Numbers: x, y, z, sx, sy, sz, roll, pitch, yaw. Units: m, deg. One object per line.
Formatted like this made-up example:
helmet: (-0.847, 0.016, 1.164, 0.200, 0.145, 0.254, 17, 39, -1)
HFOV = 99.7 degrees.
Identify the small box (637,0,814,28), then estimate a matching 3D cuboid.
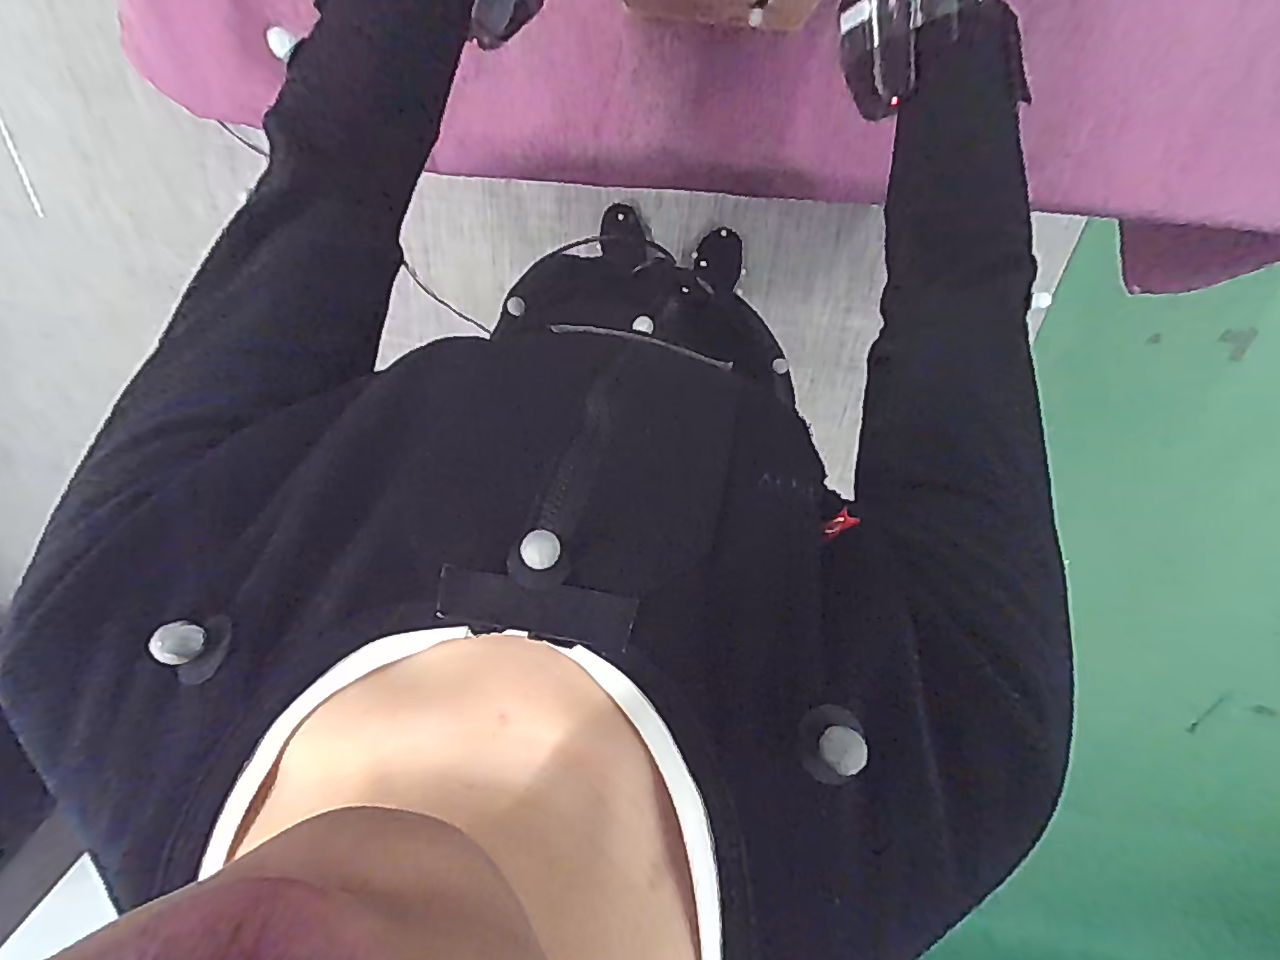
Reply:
small box: (0.072, -0.464, 0.397, 0.168, 0.176, 0.179, 8, 120, 1)
